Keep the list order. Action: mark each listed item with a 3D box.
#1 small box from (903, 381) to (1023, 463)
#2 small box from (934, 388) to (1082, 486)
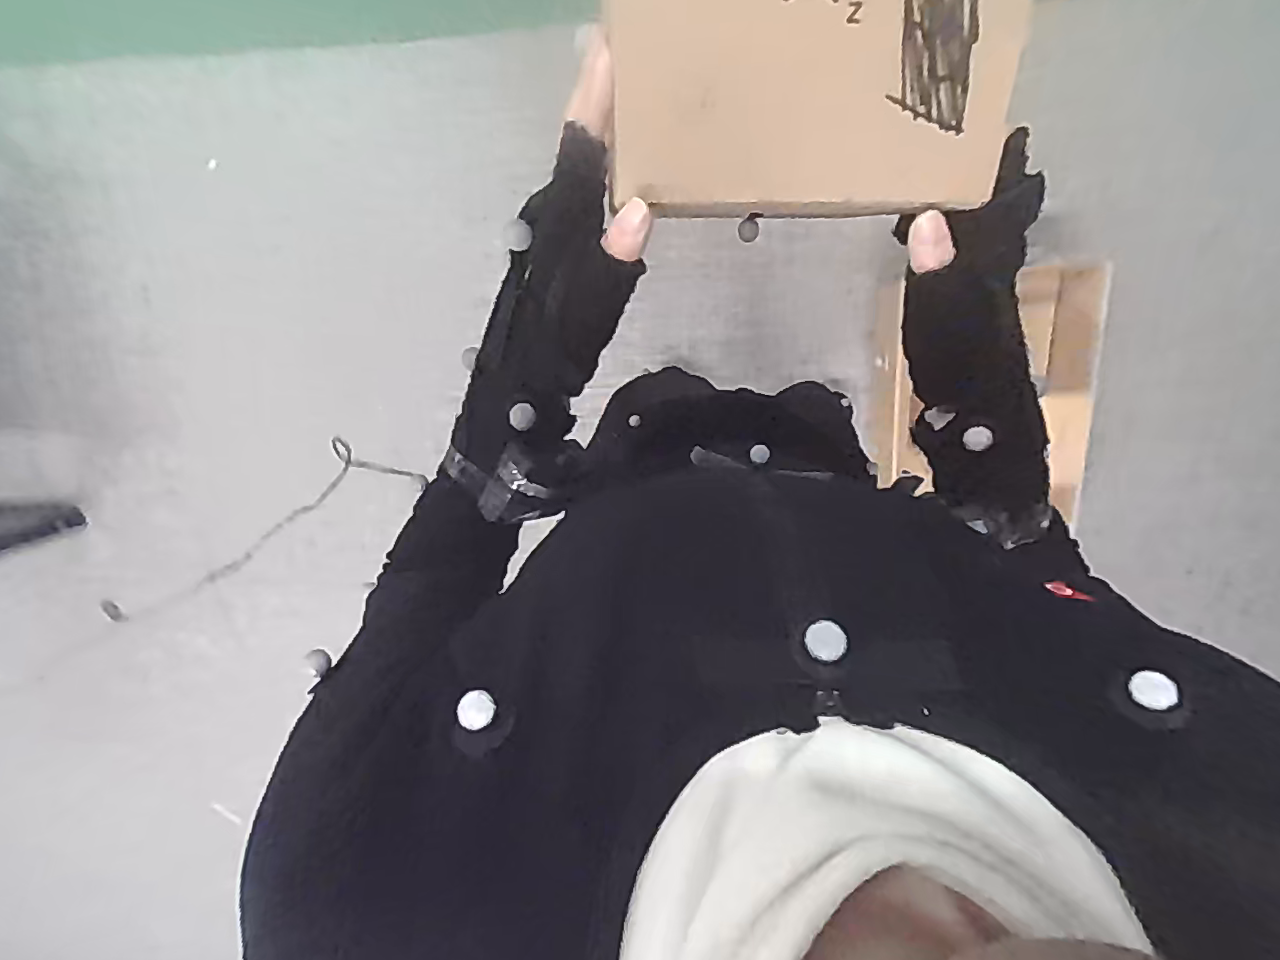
[{"bbox_3d":[0.720,-0.132,1.223,0.179,0.176,0.168,0,105,4],"label":"small box"},{"bbox_3d":[0.710,-0.089,1.067,0.179,0.176,0.168,-1,106,4],"label":"small box"}]
